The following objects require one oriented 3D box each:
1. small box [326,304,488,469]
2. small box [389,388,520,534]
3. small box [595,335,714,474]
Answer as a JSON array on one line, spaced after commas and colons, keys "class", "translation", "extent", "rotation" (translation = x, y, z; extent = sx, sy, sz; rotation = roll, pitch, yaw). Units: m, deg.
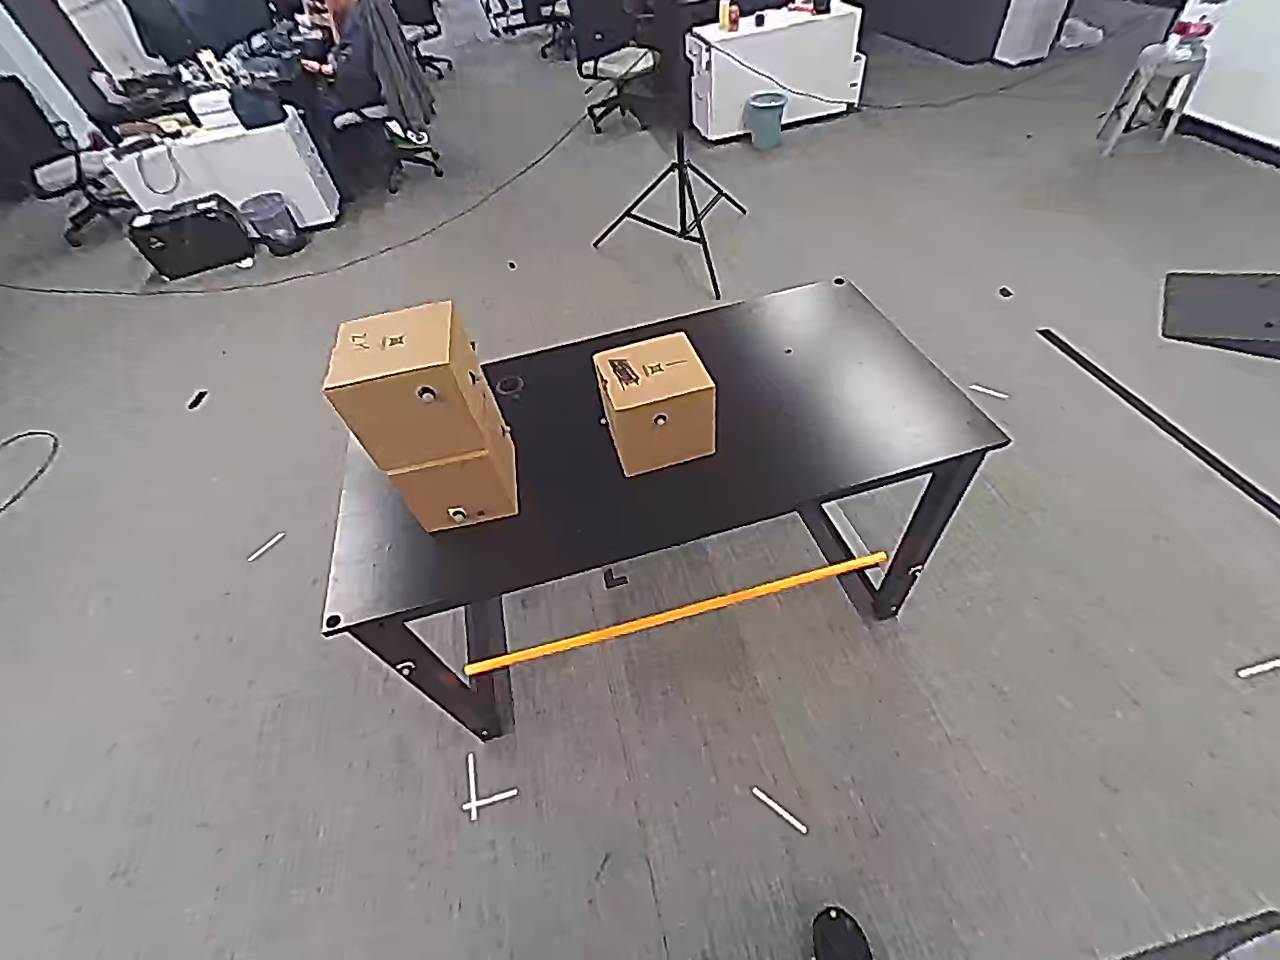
[{"class": "small box", "translation": [-0.343, -0.141, 0.838], "extent": [0.179, 0.176, 0.168], "rotation": [-13, 49, -2]}, {"class": "small box", "translation": [-0.318, -0.032, 0.960], "extent": [0.168, 0.176, 0.179], "rotation": [-13, 51, -2]}, {"class": "small box", "translation": [0.030, -0.134, 0.994], "extent": [0.179, 0.176, 0.168], "rotation": [-15, 50, -6]}]
